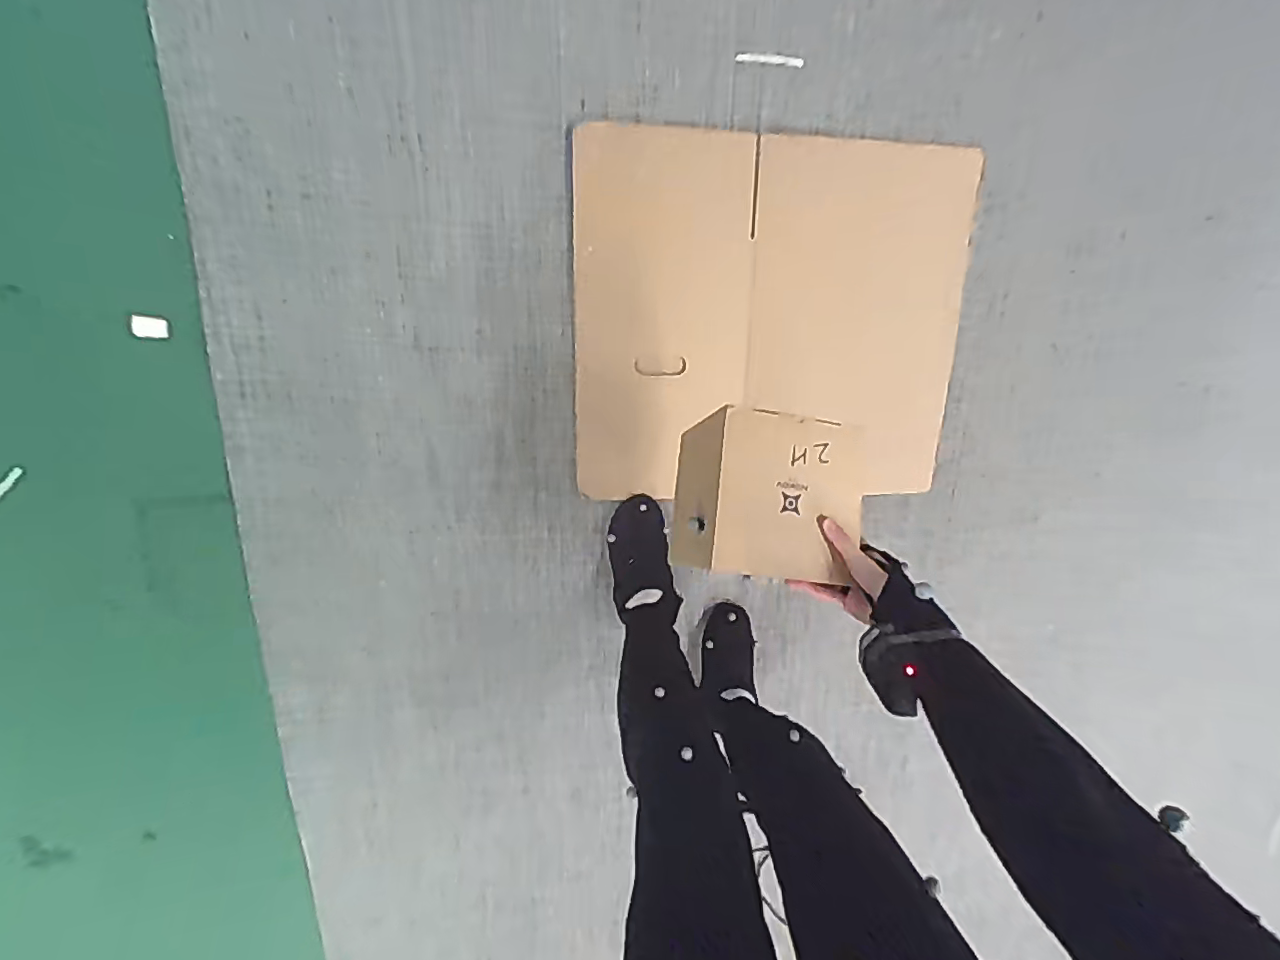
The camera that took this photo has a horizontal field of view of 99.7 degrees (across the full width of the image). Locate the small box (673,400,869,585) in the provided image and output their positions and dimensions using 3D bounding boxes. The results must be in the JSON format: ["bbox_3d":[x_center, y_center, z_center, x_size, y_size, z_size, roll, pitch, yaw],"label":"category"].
[{"bbox_3d":[0.144,0.022,0.644,0.168,0.176,0.179,9,81,-12],"label":"small box"}]
